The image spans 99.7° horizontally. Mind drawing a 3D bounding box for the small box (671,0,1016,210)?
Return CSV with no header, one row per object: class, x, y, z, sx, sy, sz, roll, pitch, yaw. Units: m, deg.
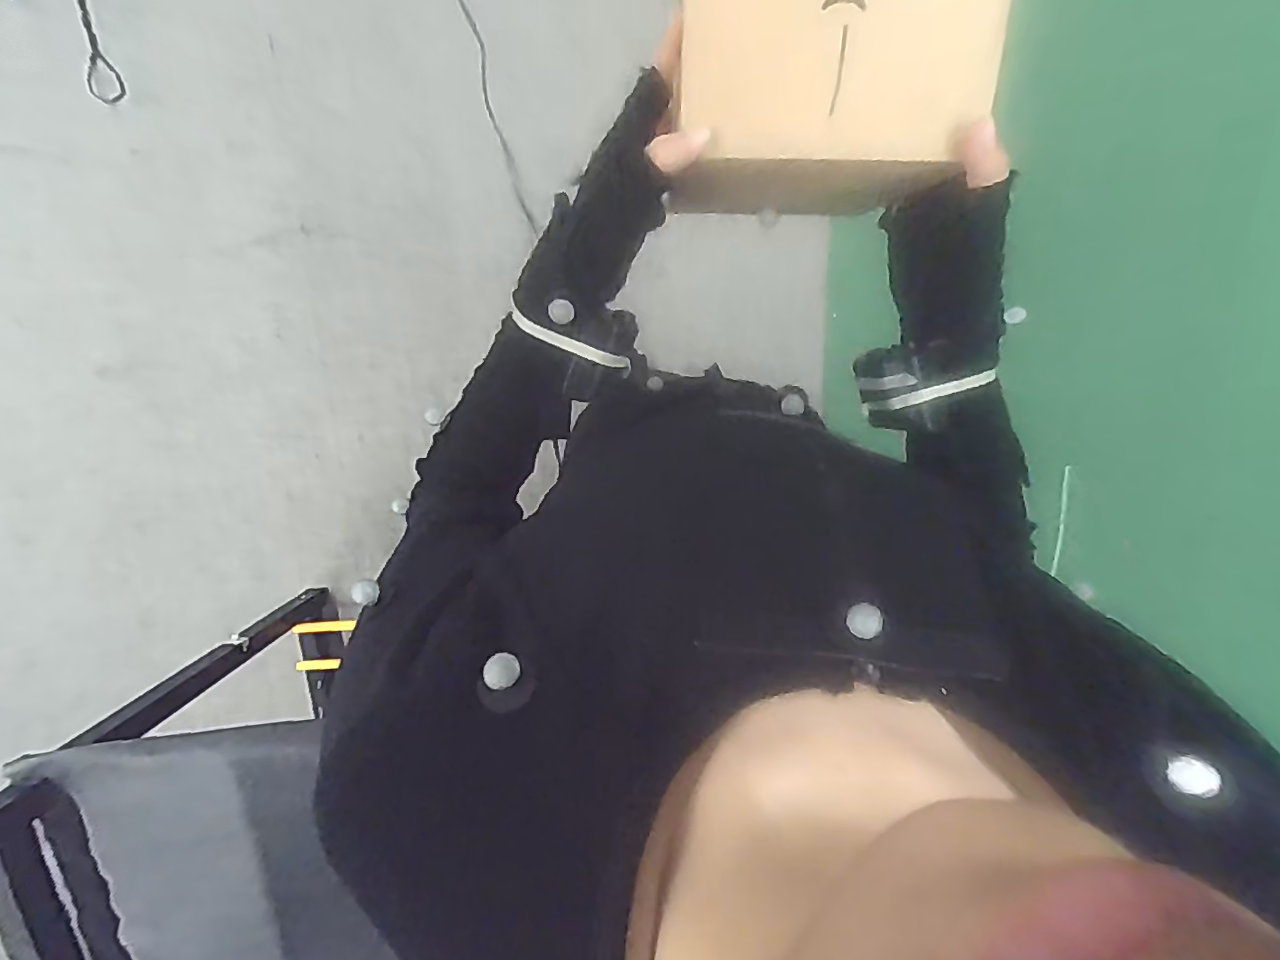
small box,0.107,-0.285,0.342,0.168,0.176,0.179,1,107,0
